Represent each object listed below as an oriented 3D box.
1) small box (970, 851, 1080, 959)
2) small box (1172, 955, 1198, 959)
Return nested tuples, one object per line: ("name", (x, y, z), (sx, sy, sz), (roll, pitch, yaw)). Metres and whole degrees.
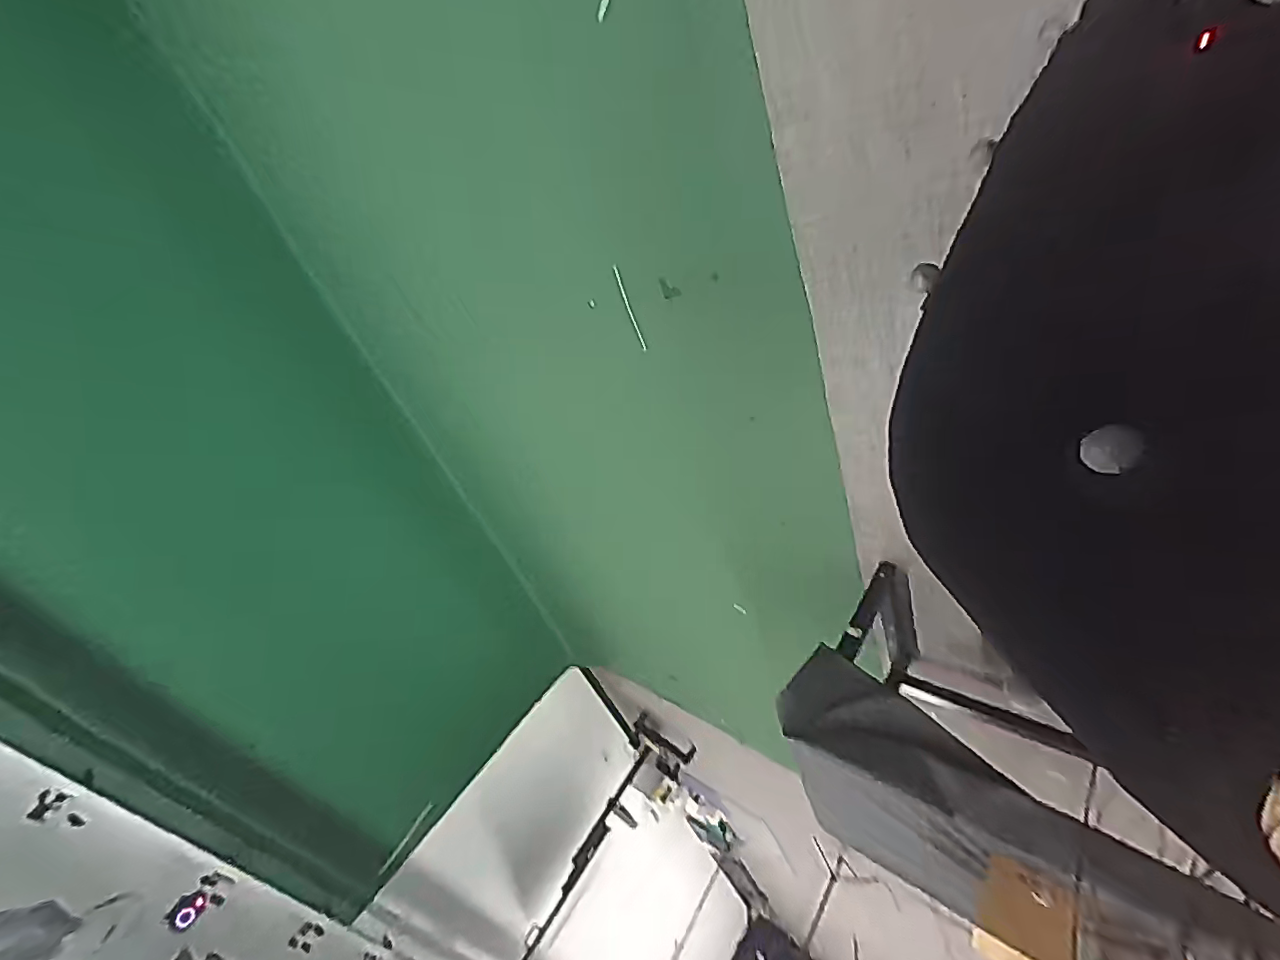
("small box", (0.831, 0.958, 1.169), (0.168, 0.176, 0.179), (11, 136, 40))
("small box", (1.058, 1.012, 0.972), (0.168, 0.176, 0.179), (12, 138, 41))
